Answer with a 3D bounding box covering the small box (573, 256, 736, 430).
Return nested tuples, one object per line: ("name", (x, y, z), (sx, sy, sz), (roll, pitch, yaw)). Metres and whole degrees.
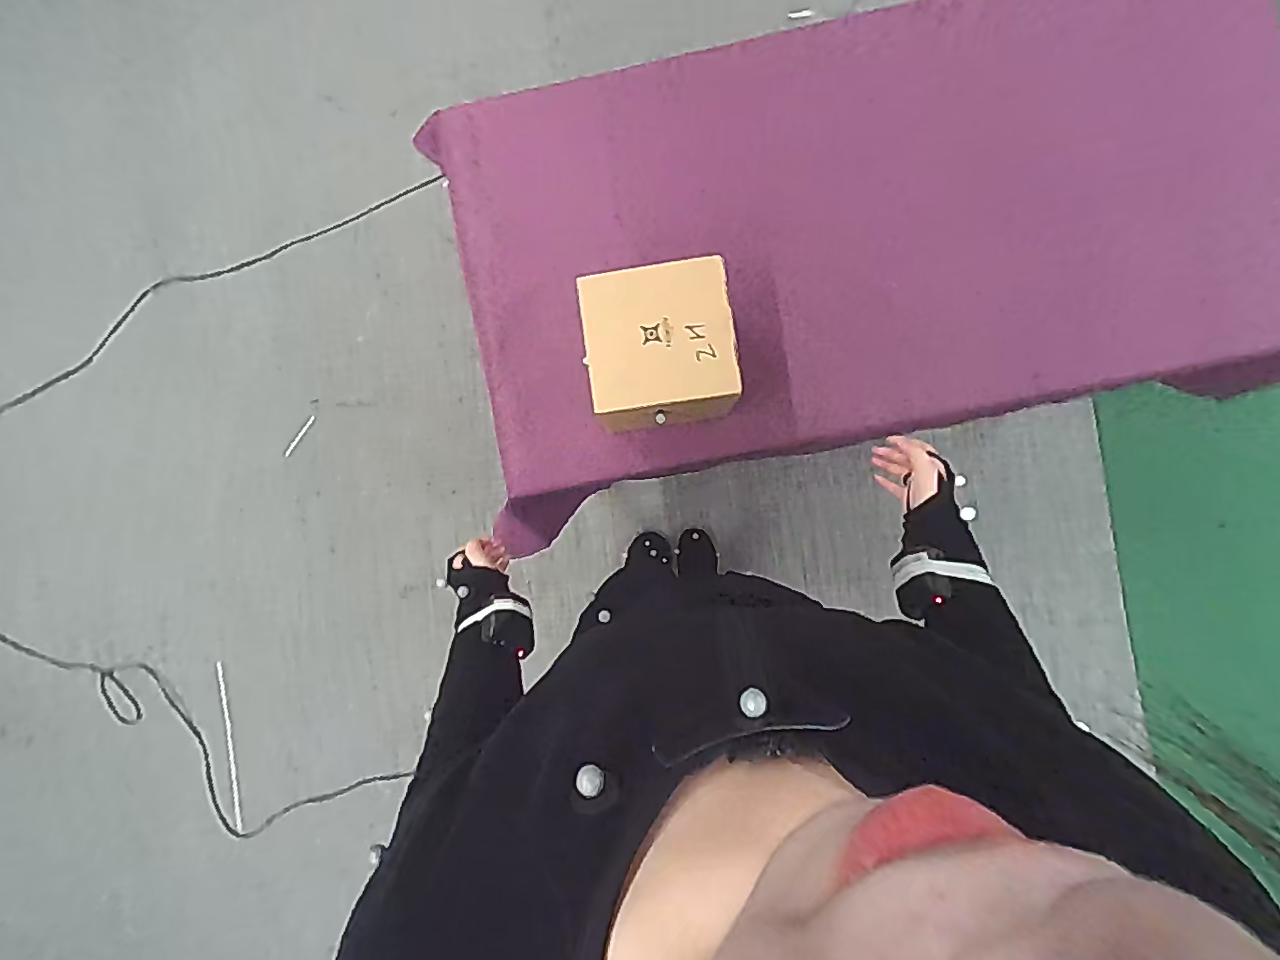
("small box", (0.021, -0.166, 0.707), (0.179, 0.176, 0.168), (-8, 87, 3))
